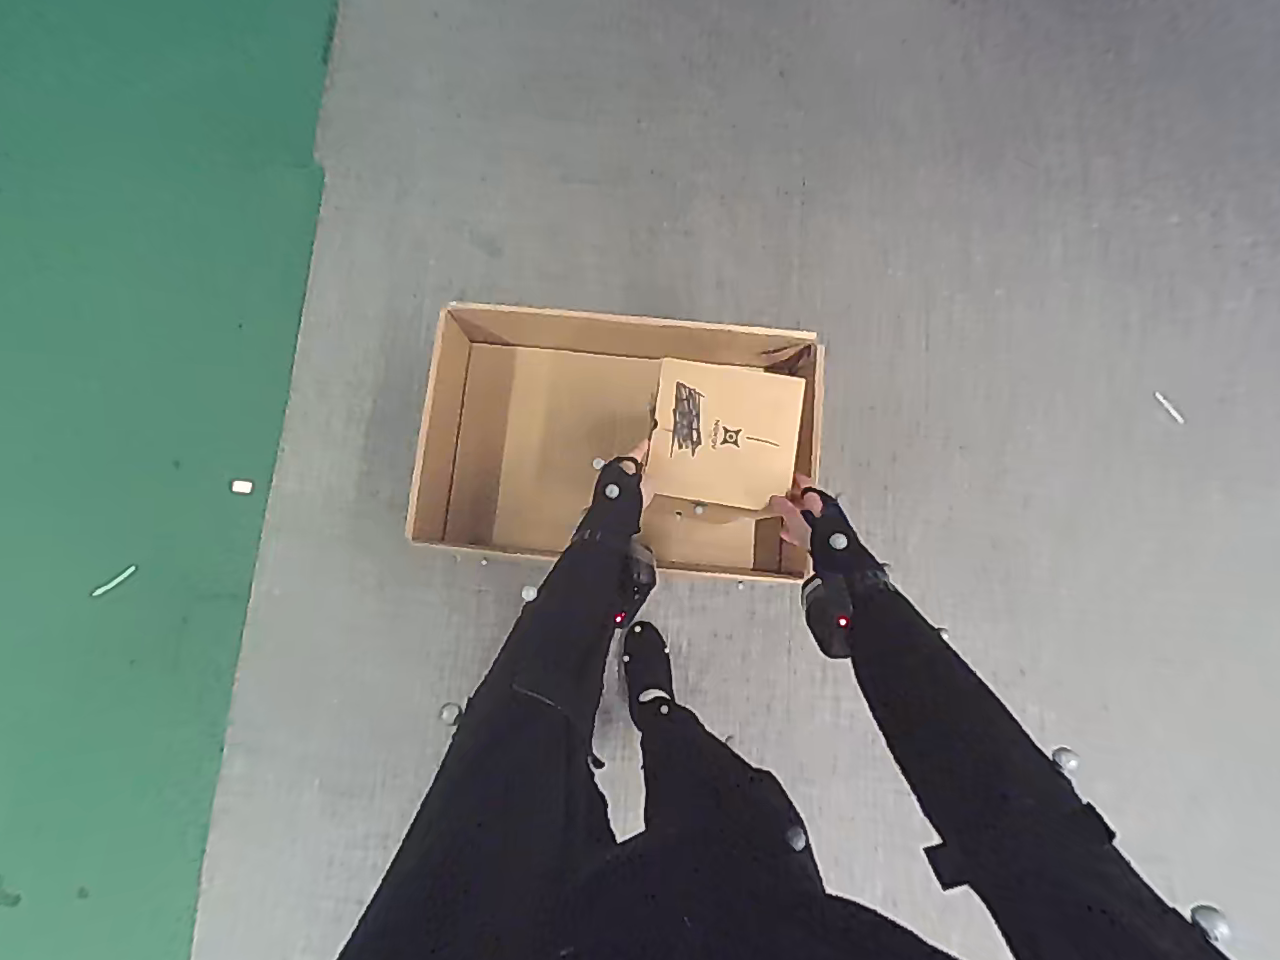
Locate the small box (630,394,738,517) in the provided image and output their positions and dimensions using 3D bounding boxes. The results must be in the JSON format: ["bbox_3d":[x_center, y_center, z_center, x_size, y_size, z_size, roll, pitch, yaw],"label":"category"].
[{"bbox_3d":[0.082,-0.039,0.878,0.168,0.176,0.179,10,82,1],"label":"small box"}]

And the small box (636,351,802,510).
[{"bbox_3d":[0.094,-0.053,0.712,0.179,0.176,0.168,9,85,1],"label":"small box"}]
